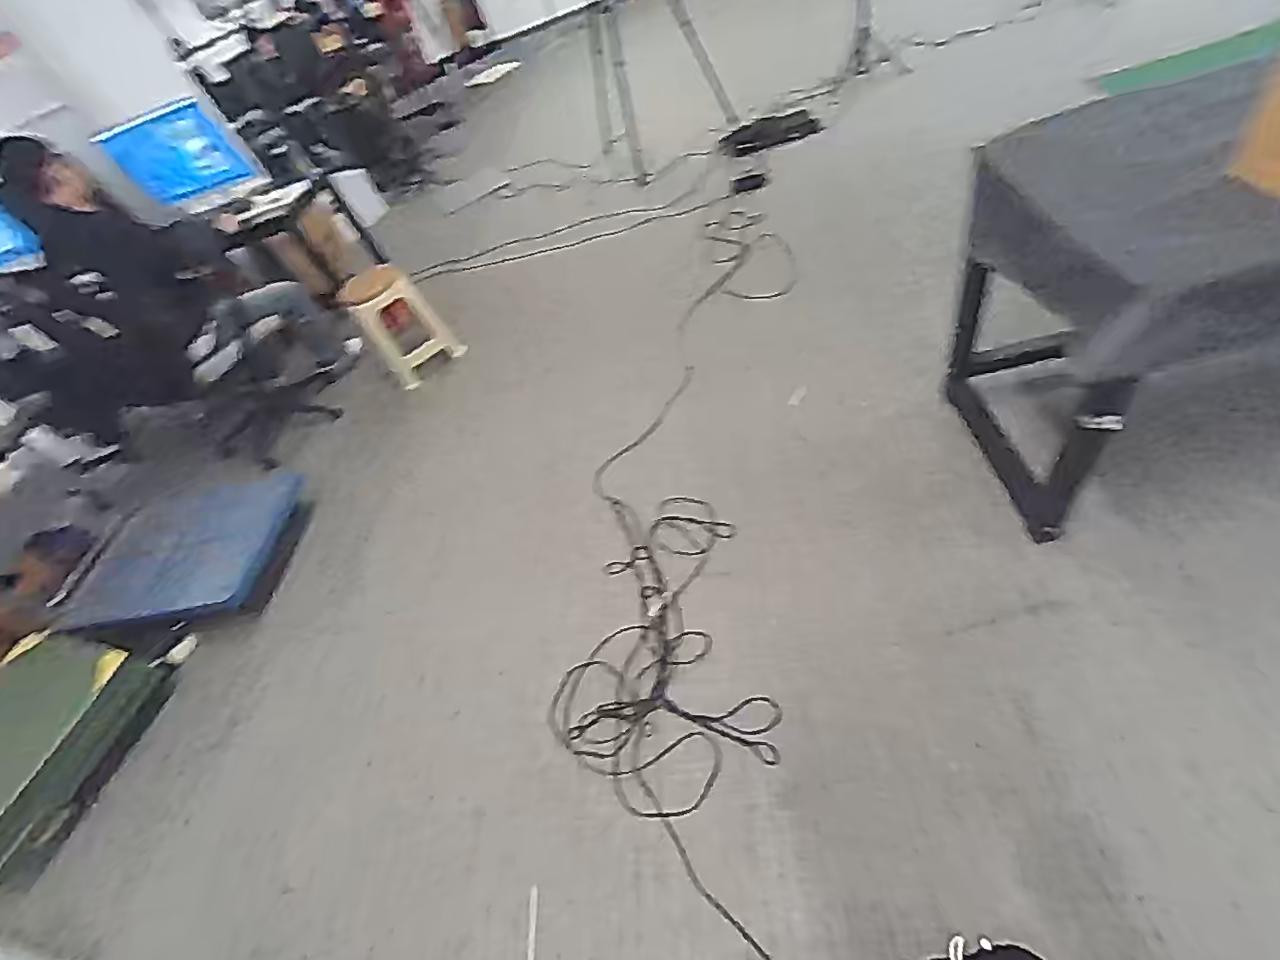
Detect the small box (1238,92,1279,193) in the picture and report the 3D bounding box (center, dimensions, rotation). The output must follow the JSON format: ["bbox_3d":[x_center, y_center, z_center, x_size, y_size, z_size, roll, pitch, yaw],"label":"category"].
[{"bbox_3d":[1.038,-0.514,0.767,0.168,0.176,0.179,-14,48,9],"label":"small box"}]
